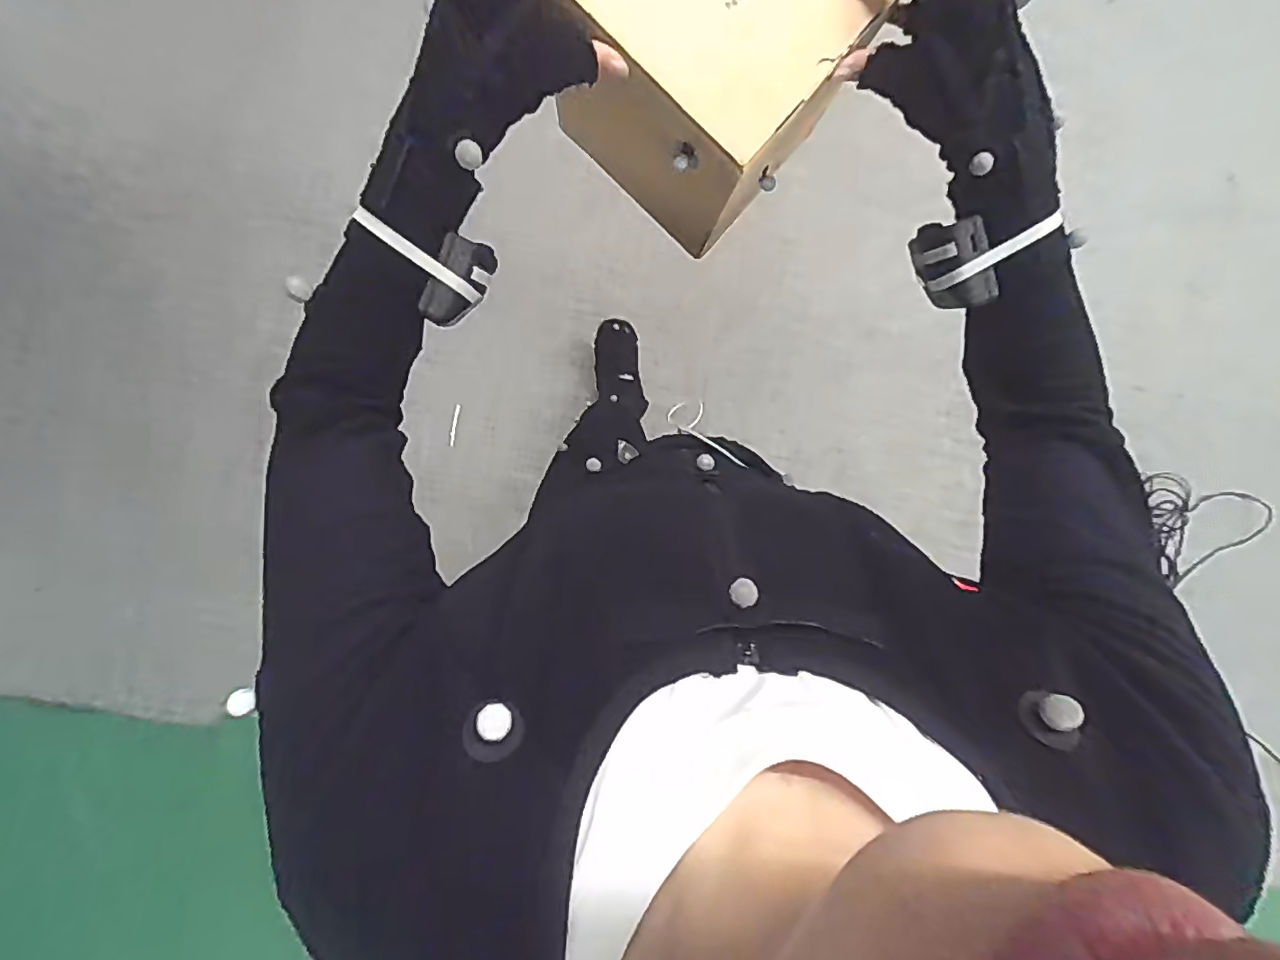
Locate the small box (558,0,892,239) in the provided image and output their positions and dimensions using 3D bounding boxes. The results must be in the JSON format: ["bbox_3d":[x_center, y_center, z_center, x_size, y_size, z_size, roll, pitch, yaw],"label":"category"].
[{"bbox_3d":[0.049,-0.328,0.422,0.179,0.176,0.168,42,90,-7],"label":"small box"}]
